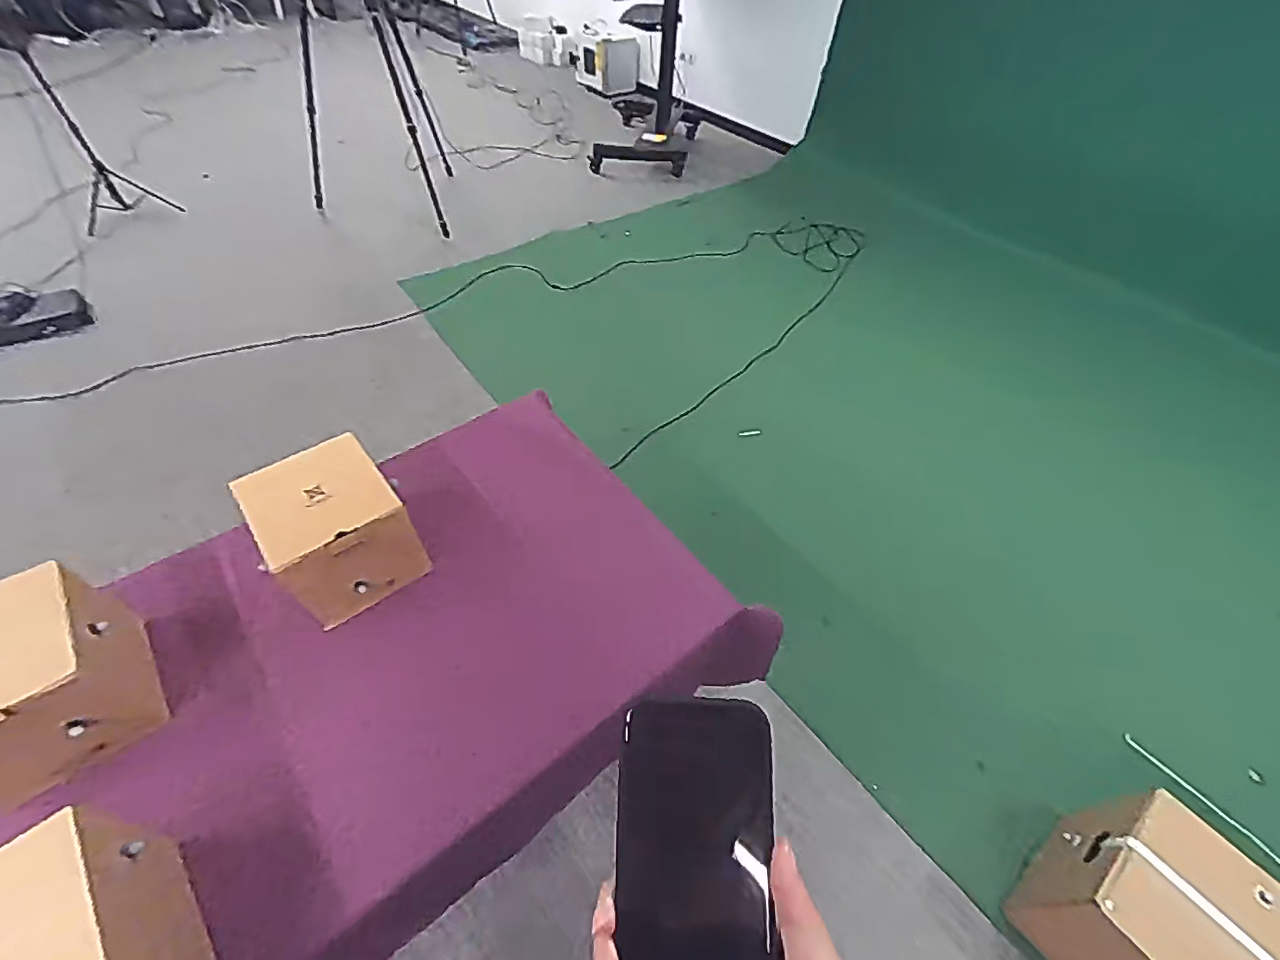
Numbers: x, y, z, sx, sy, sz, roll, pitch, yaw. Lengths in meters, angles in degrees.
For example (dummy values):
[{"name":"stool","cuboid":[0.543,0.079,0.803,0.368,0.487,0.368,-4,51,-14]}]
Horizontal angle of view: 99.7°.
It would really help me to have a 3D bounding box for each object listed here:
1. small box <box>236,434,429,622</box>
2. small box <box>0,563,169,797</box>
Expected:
[{"name":"small box","cuboid":[-0.435,0.071,0.785,0.168,0.176,0.179,-32,60,-26]},{"name":"small box","cuboid":[-0.700,0.238,0.630,0.168,0.176,0.179,-30,58,-26]}]
